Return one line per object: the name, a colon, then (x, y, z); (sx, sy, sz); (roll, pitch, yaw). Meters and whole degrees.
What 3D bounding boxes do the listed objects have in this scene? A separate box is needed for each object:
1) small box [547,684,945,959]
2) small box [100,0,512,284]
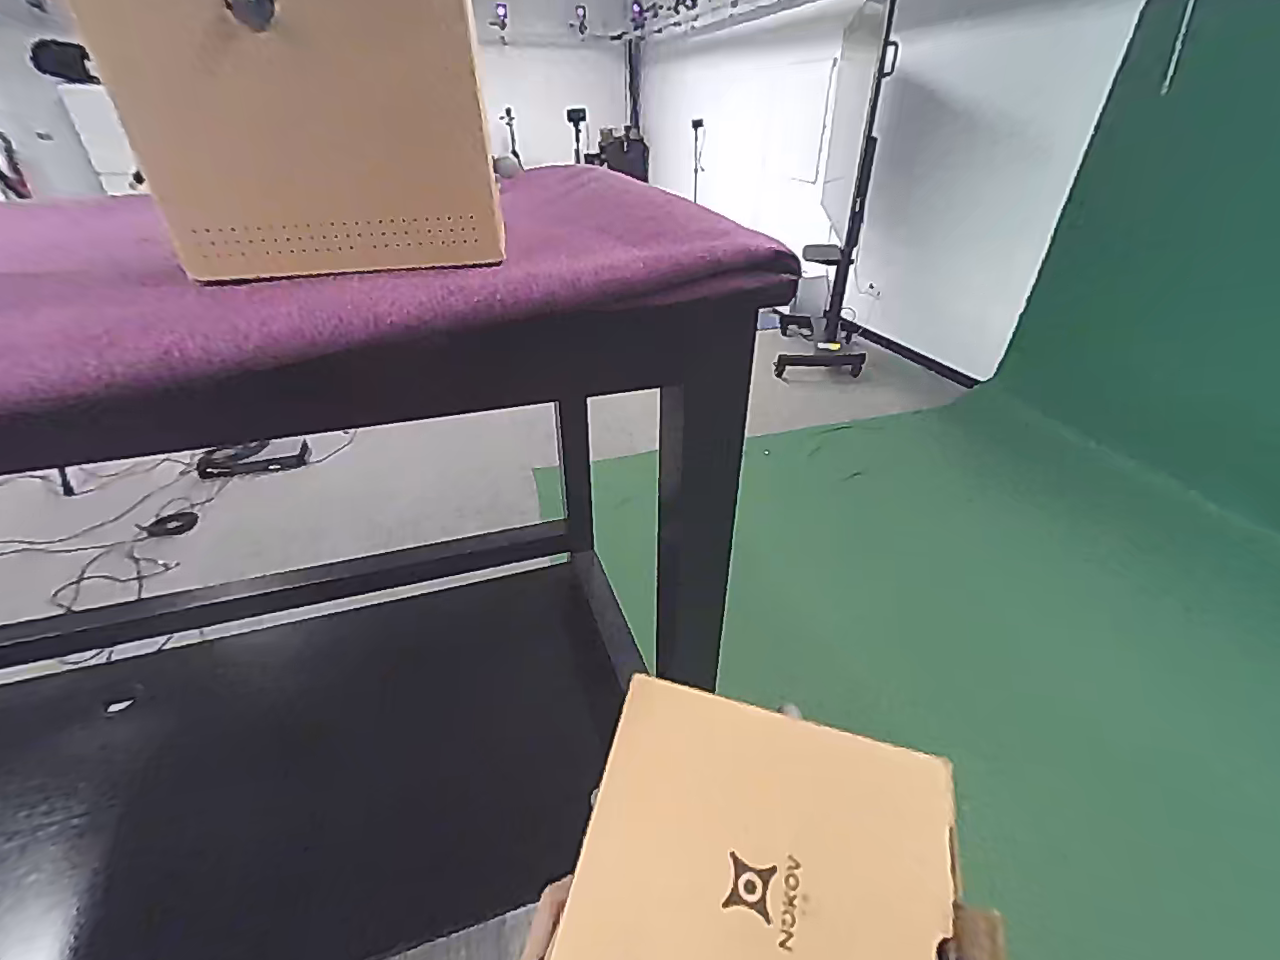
small box: (0.059, 0.250, 0.324); (0.179, 0.176, 0.168); (11, 53, 12)
small box: (-0.183, -0.228, 0.345); (0.179, 0.176, 0.168); (-7, 33, -10)
